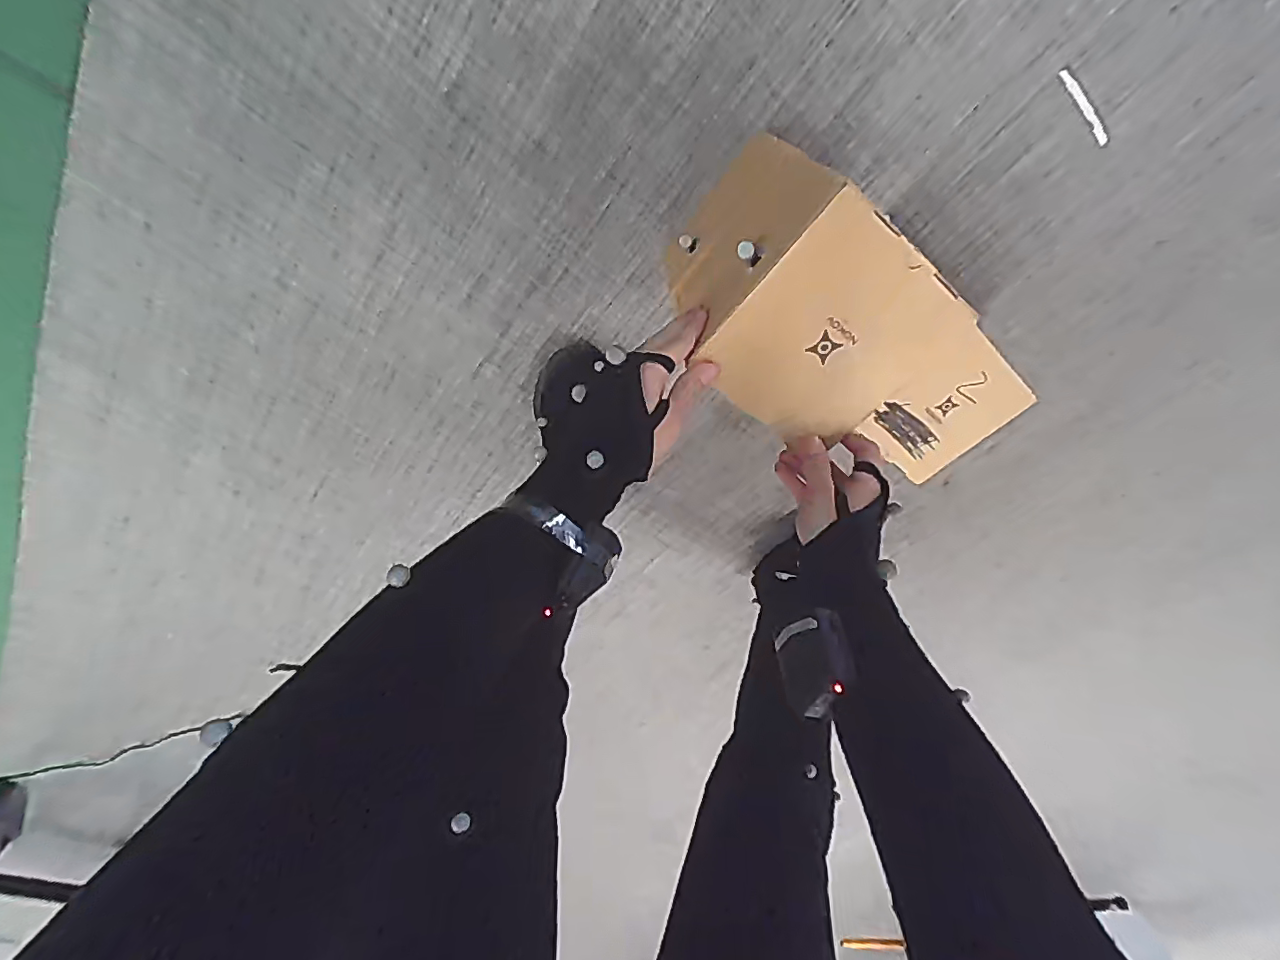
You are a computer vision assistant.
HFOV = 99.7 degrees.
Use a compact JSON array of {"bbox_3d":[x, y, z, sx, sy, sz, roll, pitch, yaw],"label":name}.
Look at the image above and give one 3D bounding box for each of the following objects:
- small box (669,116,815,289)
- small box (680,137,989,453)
[{"bbox_3d":[0.149,-0.266,0.607,0.168,0.176,0.179,34,121,-25],"label":"small box"},{"bbox_3d":[0.151,-0.165,0.481,0.168,0.176,0.179,32,122,-22],"label":"small box"}]
